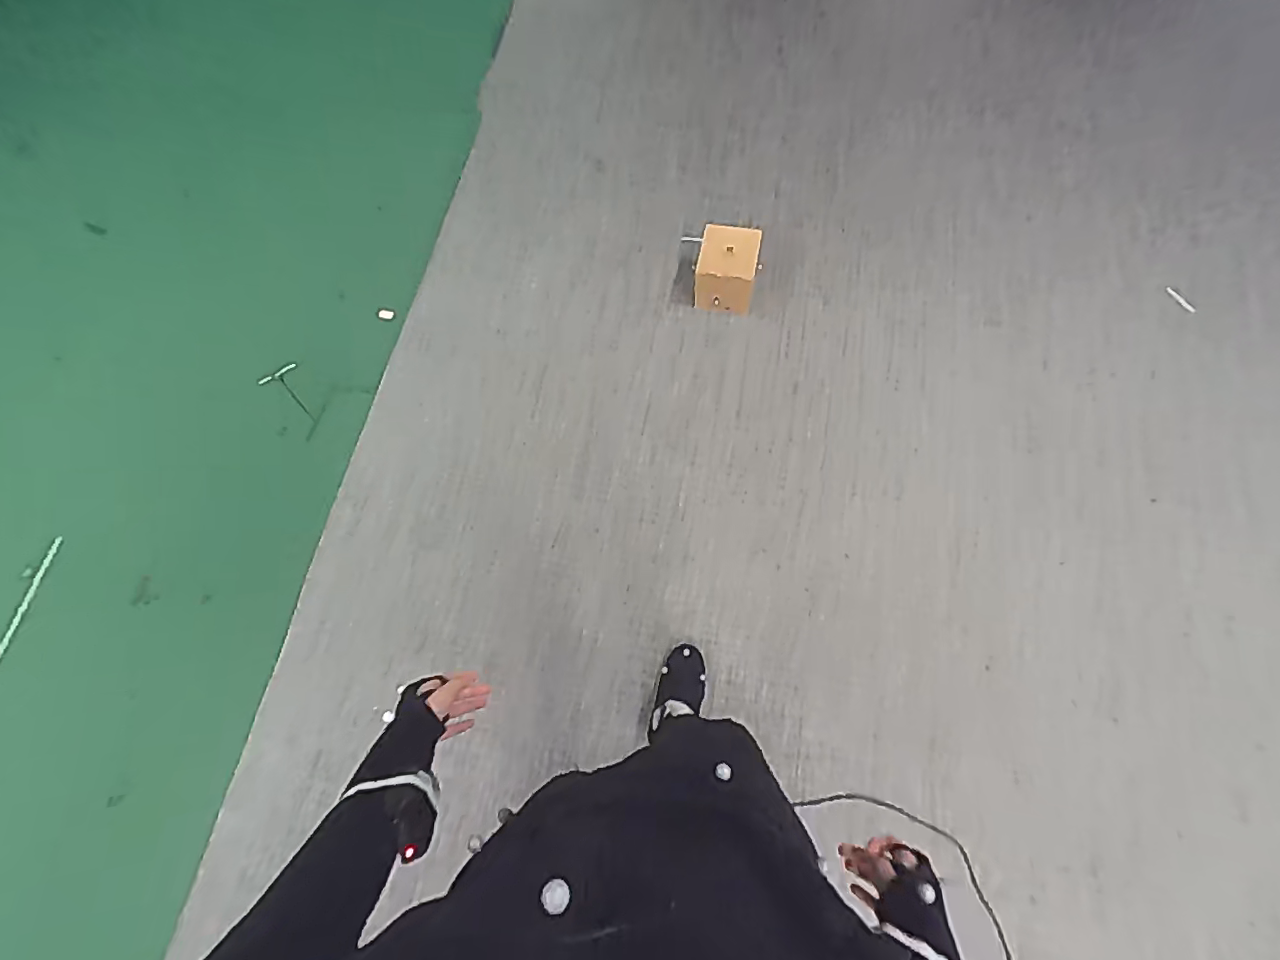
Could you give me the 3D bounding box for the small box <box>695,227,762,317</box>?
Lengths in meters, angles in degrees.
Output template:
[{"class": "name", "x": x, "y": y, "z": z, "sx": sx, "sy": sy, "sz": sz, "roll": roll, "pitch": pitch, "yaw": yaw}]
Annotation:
[{"class": "small box", "x": 0.260, "y": -0.616, "z": 1.610, "sx": 0.168, "sy": 0.176, "sz": 0.179, "roll": 10, "pitch": 73, "yaw": 8}]
